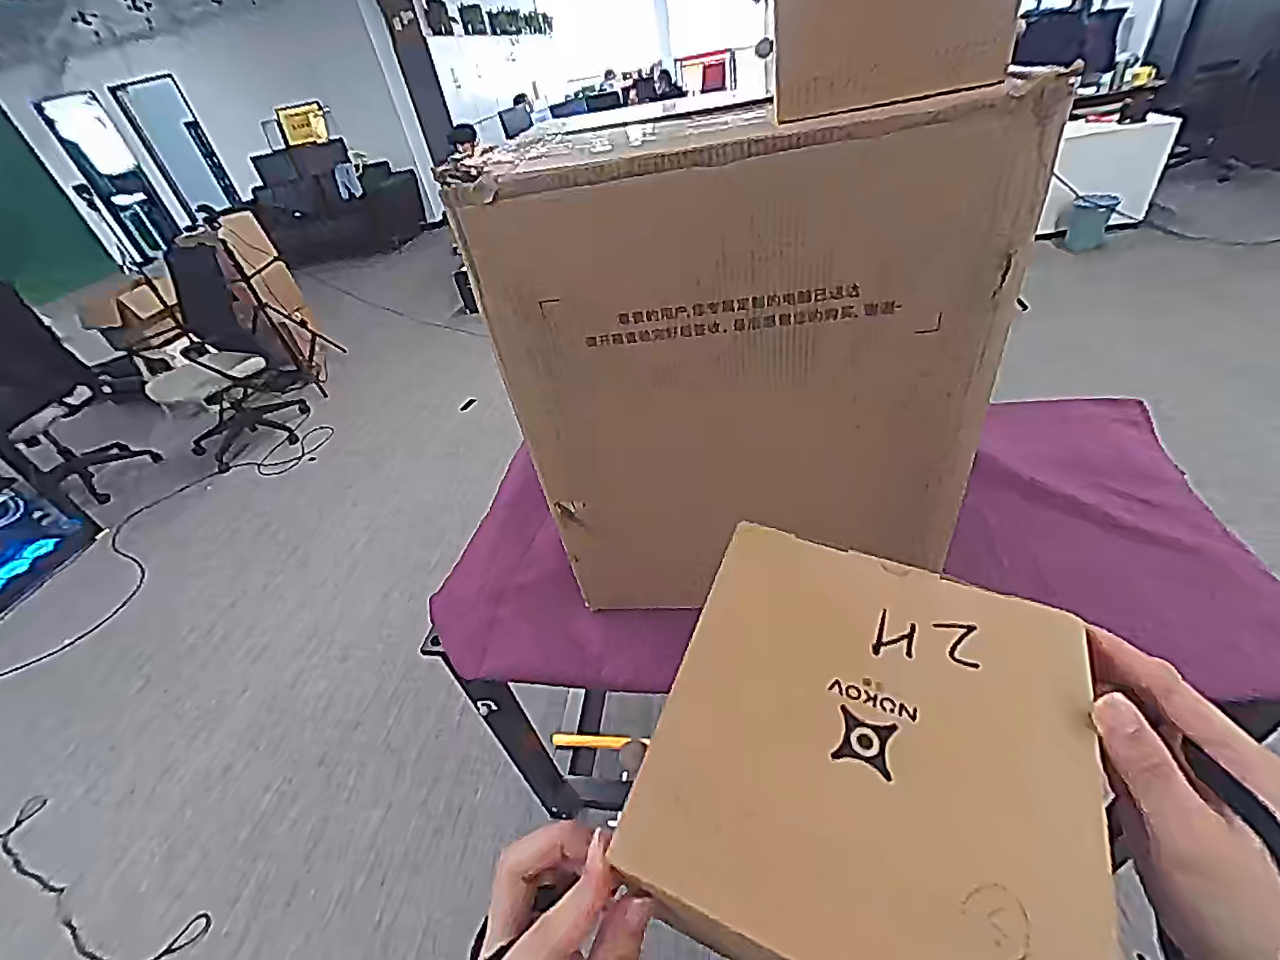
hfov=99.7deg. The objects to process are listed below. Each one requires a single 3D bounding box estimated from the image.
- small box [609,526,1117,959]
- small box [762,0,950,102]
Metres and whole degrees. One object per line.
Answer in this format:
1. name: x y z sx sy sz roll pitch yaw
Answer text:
1. small box: 0.102 0.159 0.283 0.168 0.176 0.179 16 50 19
2. small box: 0.223 -0.525 0.581 0.179 0.176 0.168 -3 38 11
